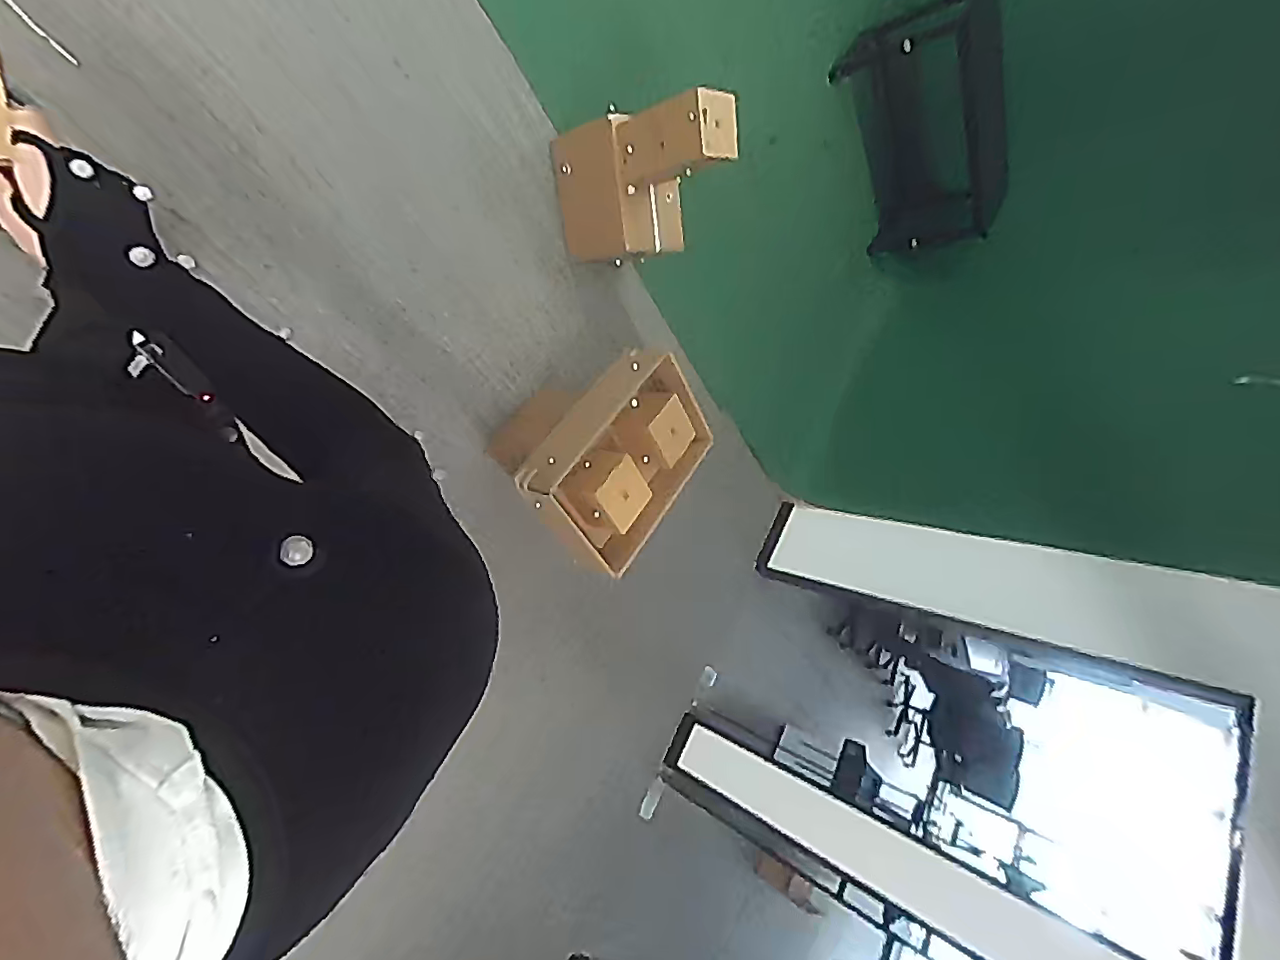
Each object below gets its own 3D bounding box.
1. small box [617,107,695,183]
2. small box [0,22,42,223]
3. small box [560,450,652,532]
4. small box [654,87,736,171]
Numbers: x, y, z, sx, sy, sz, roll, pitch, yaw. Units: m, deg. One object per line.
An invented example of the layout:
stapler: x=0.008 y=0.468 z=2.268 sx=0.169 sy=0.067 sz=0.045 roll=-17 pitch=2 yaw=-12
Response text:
small box: x=0.052 y=-1.052 z=1.712 sx=0.179 sy=0.176 sz=0.168 roll=-25 pitch=115 yaw=-40
small box: x=-0.600 y=-0.320 z=0.414 sx=0.168 sy=0.176 sz=0.179 roll=-14 pitch=99 yaw=-45
small box: x=-0.102 y=0.025 z=1.610 sx=0.168 sy=0.176 sz=0.179 roll=-53 pitch=130 yaw=-26
small box: x=0.163 y=-1.026 z=1.595 sx=0.179 sy=0.176 sz=0.168 roll=-26 pitch=116 yaw=-41
